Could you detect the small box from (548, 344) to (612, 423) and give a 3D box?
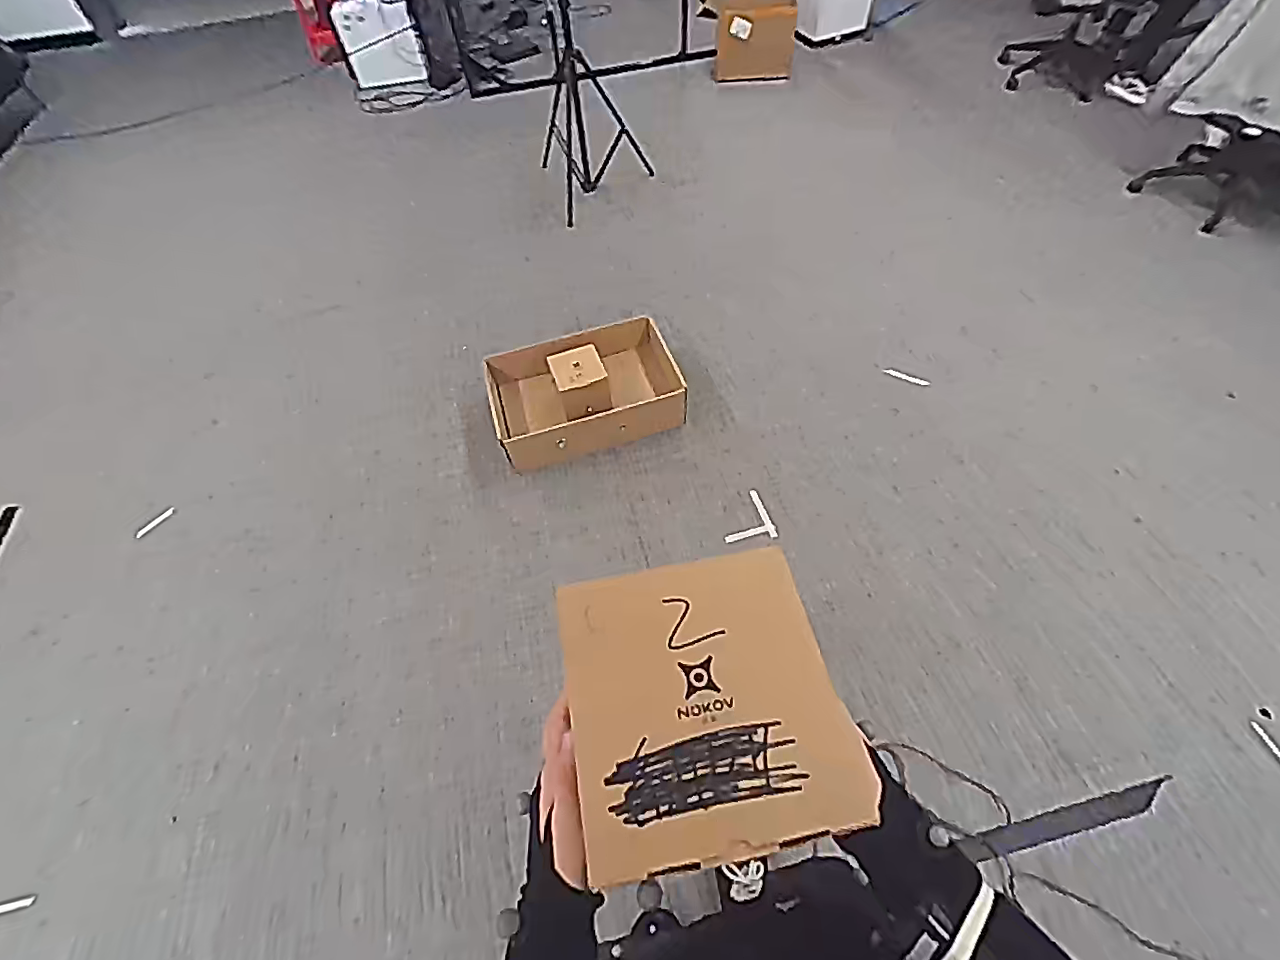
[{"bbox_3d":[-0.203,-0.326,1.841,0.168,0.176,0.179,-18,57,-8],"label":"small box"}]
